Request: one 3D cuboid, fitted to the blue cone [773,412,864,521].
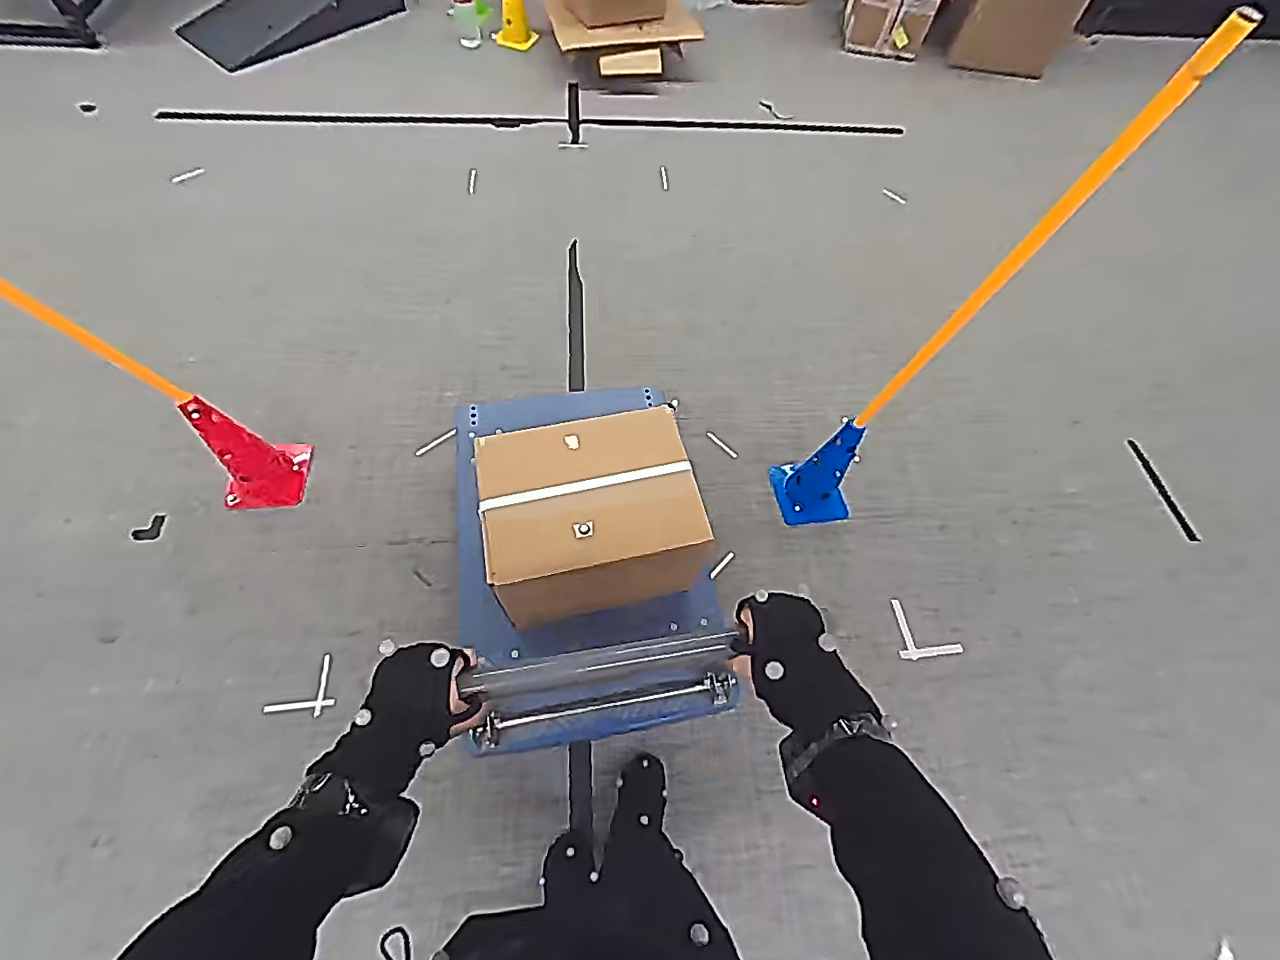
[{"bbox_3d":[0.517,-0.050,1.467,0.193,0.380,0.192,-5,61,-8],"label":"blue cone"}]
